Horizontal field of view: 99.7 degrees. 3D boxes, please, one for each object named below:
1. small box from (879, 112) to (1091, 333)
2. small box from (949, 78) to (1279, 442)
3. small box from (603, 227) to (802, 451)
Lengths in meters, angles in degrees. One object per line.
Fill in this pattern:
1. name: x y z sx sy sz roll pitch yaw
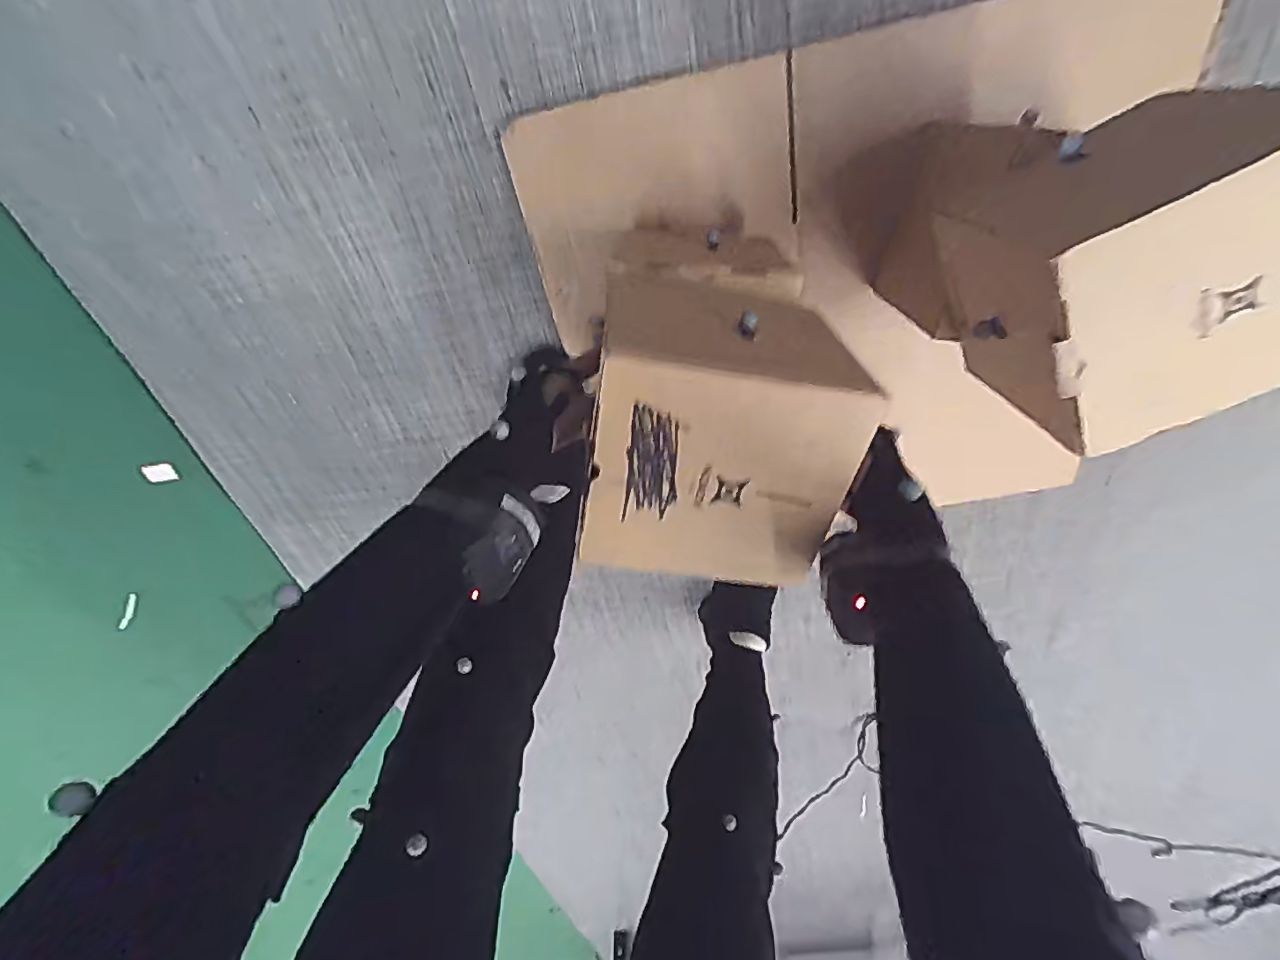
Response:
1. small box: 0.369 -0.252 0.541 0.168 0.176 0.179 6 125 -5
2. small box: 0.359 -0.163 0.403 0.179 0.176 0.168 -24 121 16
3. small box: 0.054 -0.151 0.561 0.168 0.176 0.179 4 122 1
